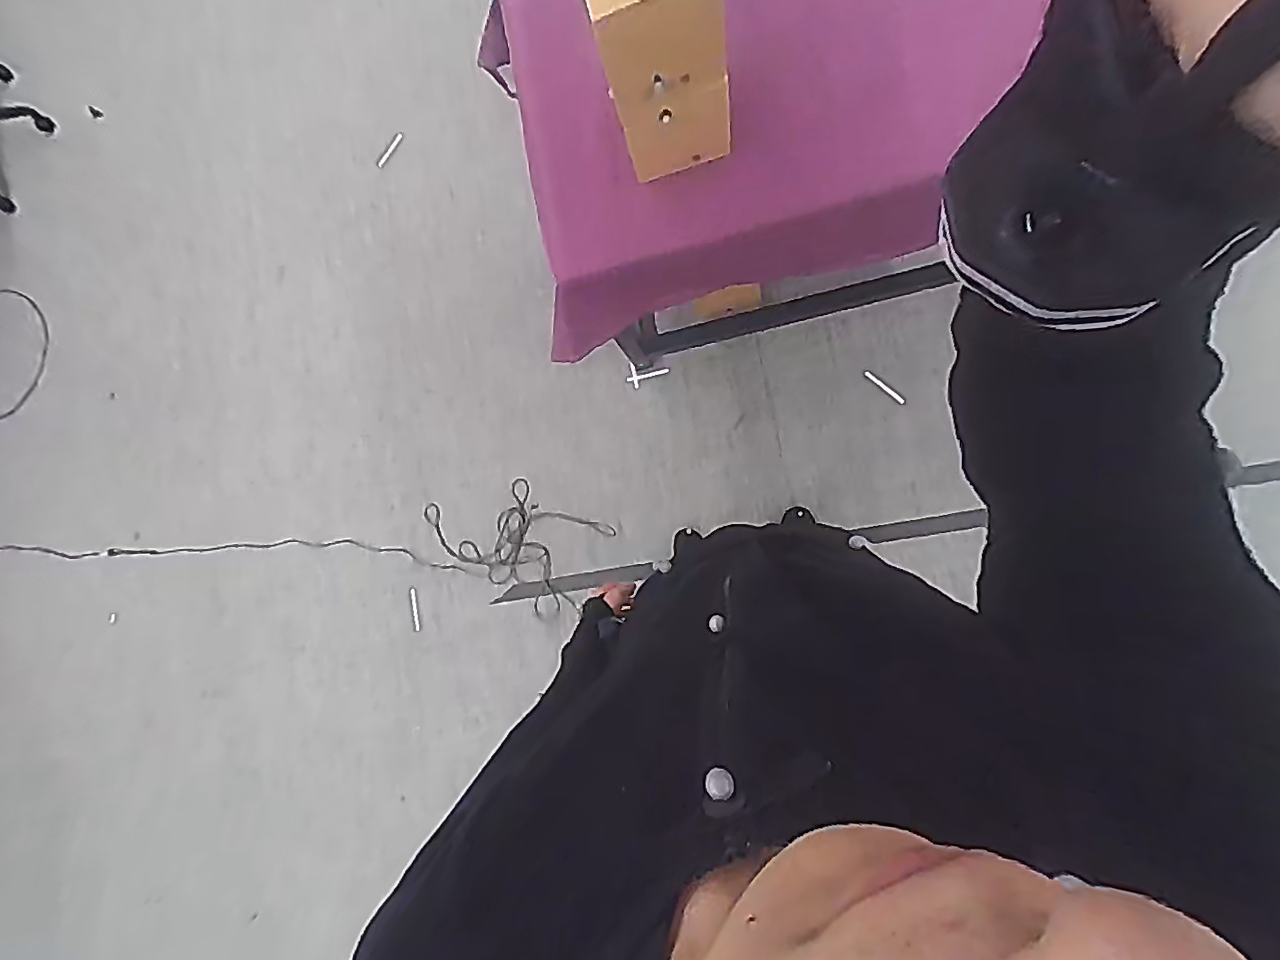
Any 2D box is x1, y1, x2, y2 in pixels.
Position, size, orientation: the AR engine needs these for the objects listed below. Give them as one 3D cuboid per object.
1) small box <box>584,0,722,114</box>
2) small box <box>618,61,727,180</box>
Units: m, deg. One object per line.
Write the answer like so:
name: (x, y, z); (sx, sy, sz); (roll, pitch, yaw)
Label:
small box: (0.010, -0.652, 0.728); (0.168, 0.176, 0.179); (-15, 84, 9)
small box: (0.045, -0.641, 0.888); (0.168, 0.176, 0.179); (-14, 84, 9)
